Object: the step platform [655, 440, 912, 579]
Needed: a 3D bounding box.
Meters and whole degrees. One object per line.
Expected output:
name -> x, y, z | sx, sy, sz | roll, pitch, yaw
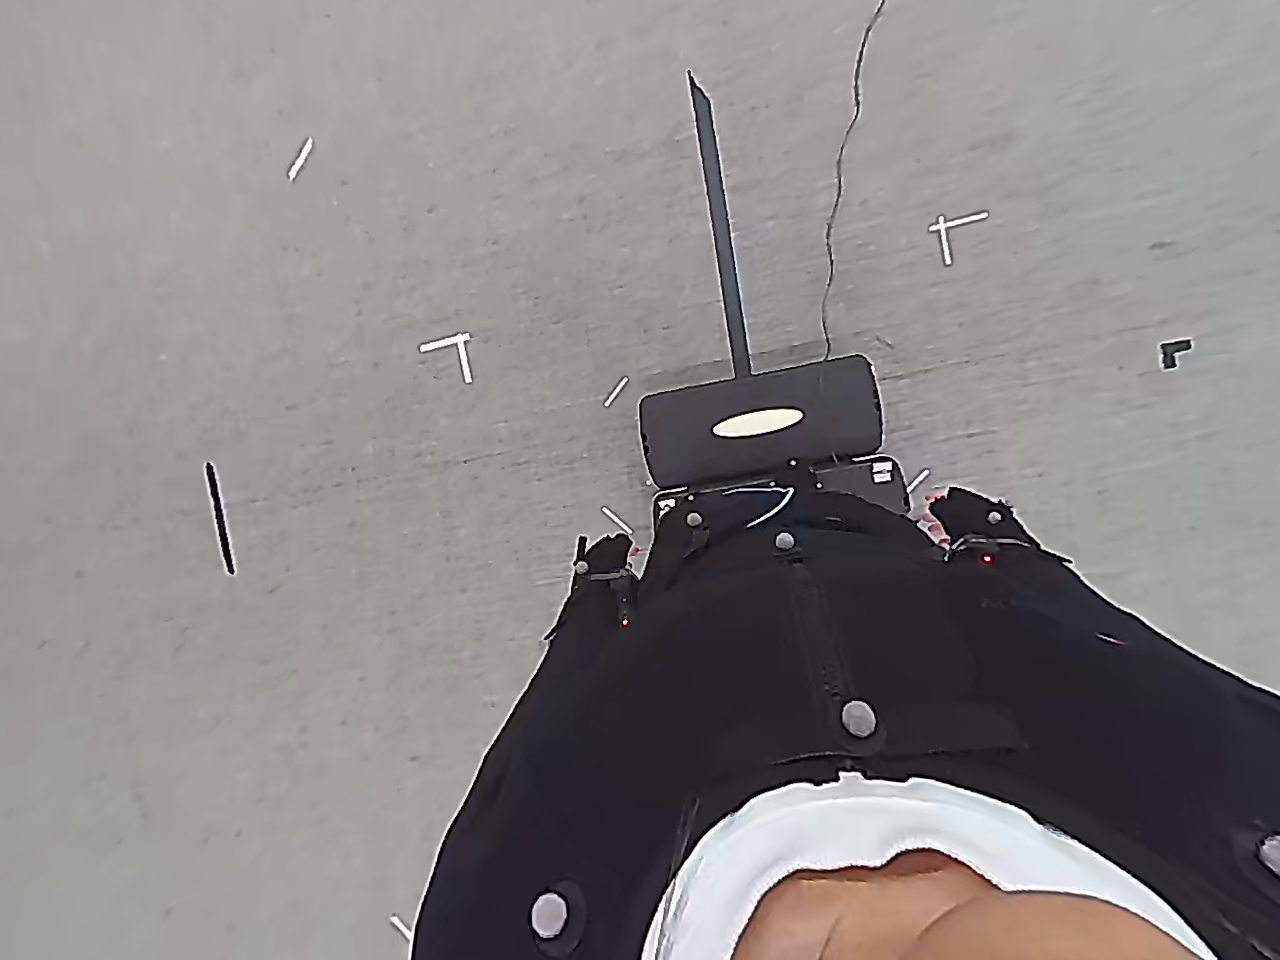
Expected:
step platform -> 0.384, 0.087, 1.520 | 0.684, 0.204, 0.286 | -11, 90, 9
